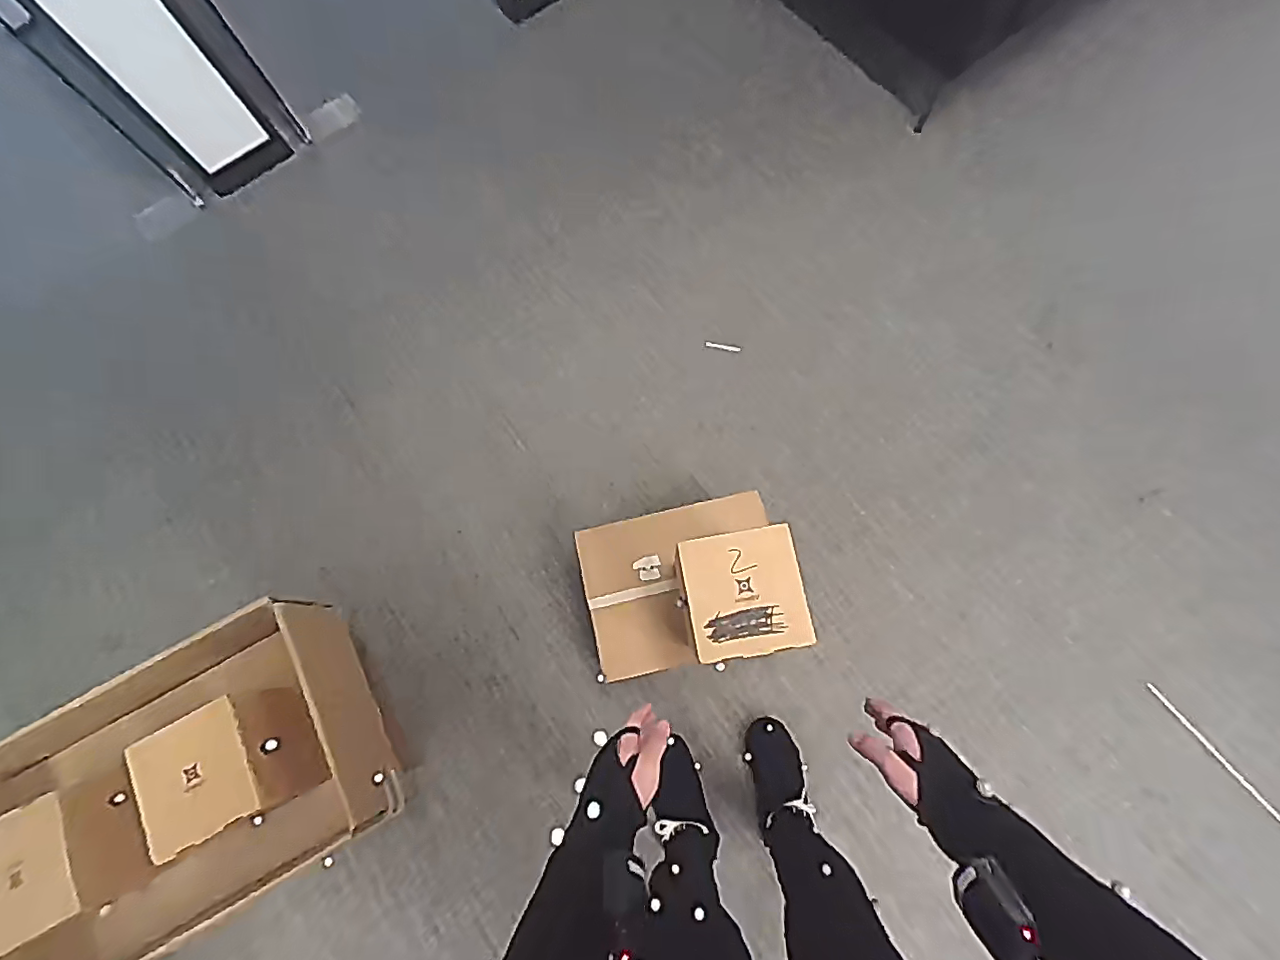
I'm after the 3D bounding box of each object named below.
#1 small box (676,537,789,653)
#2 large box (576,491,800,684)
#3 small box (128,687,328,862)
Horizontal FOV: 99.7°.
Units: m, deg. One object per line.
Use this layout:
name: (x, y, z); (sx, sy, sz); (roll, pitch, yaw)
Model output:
small box: (0.162, 0.213, 0.998); (0.168, 0.176, 0.179); (-10, 75, 0)
large box: (0.101, 0.249, 1.246); (0.408, 0.320, 0.320); (-14, 74, 0)
small box: (-0.644, 0.449, 0.863); (0.168, 0.176, 0.179); (-28, 76, -5)
